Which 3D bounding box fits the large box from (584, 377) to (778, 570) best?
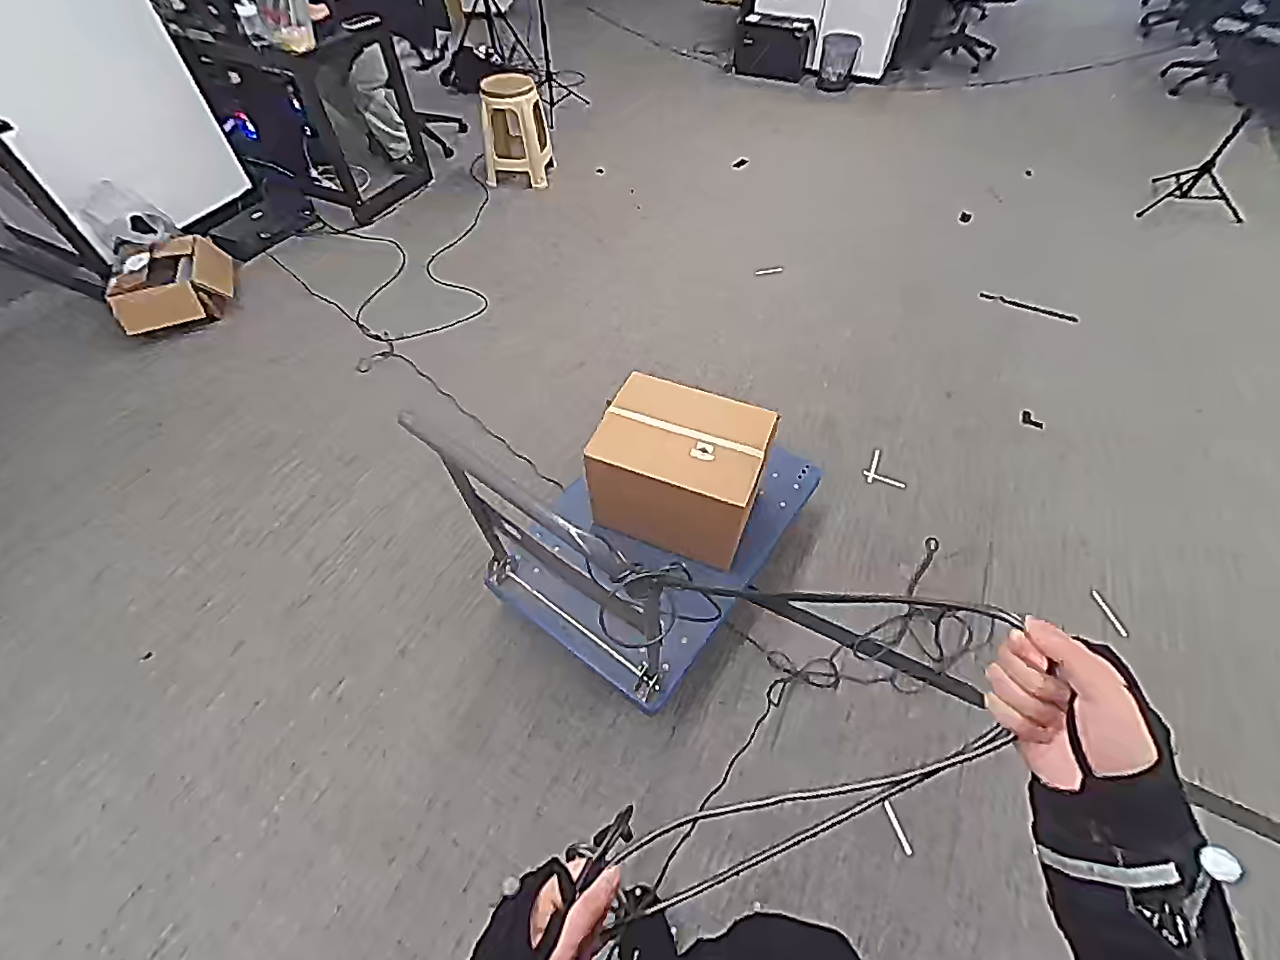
[{"bbox_3d":[0.102,-0.017,1.428,0.408,0.320,0.320,19,56,13],"label":"large box"}]
